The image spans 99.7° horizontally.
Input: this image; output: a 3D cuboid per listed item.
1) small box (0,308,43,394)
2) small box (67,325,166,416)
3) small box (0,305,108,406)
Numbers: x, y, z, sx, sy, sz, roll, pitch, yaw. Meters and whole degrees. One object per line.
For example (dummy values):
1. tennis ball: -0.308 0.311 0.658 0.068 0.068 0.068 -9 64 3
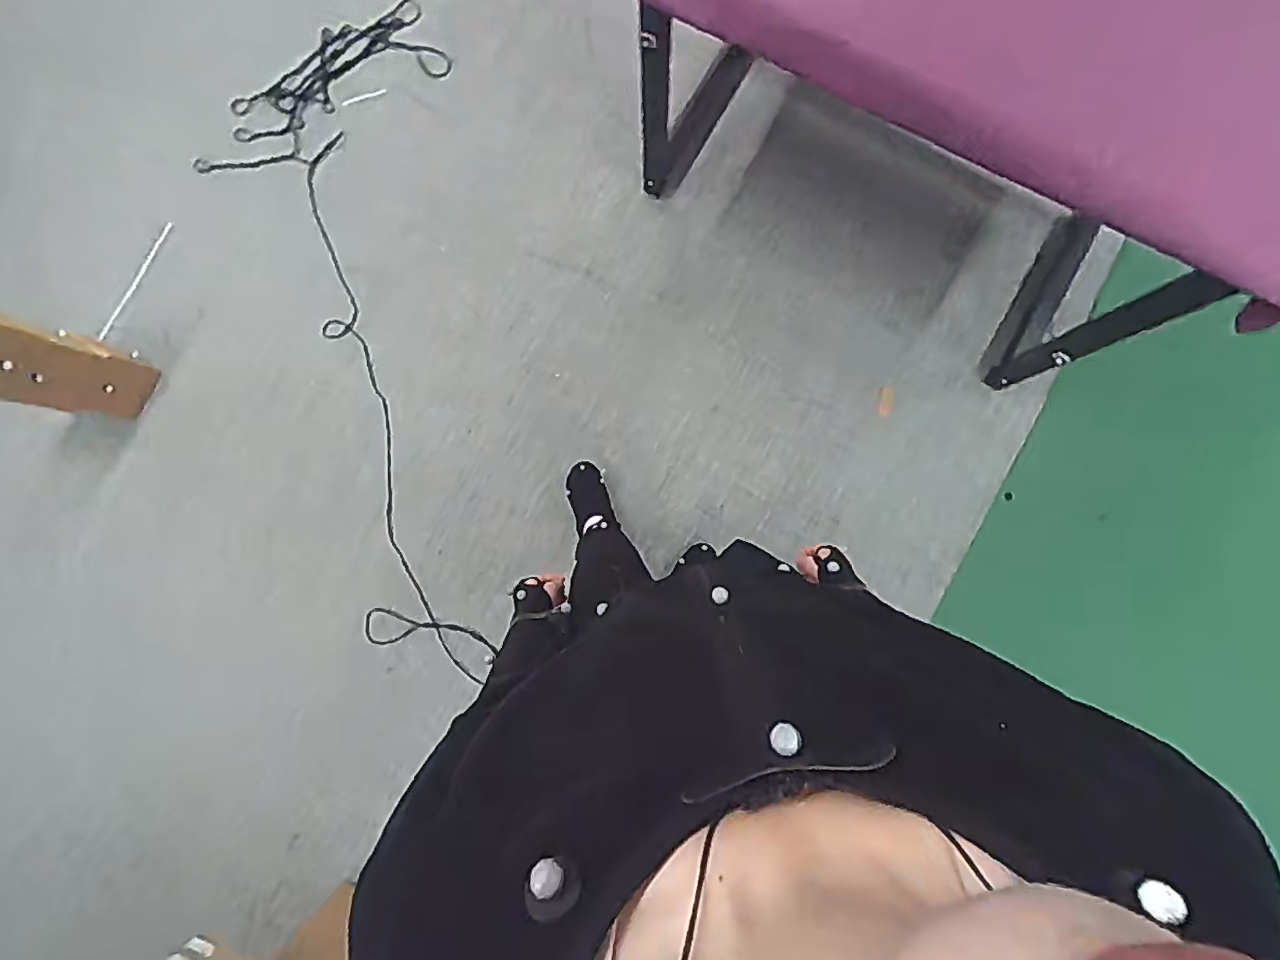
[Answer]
1. small box: -1.514 -0.318 1.203 0.168 0.176 0.179 27 86 4
2. small box: -1.514 -0.301 1.531 0.168 0.176 0.179 29 86 4
3. small box: -1.524 -0.307 1.367 0.168 0.176 0.179 29 87 3
